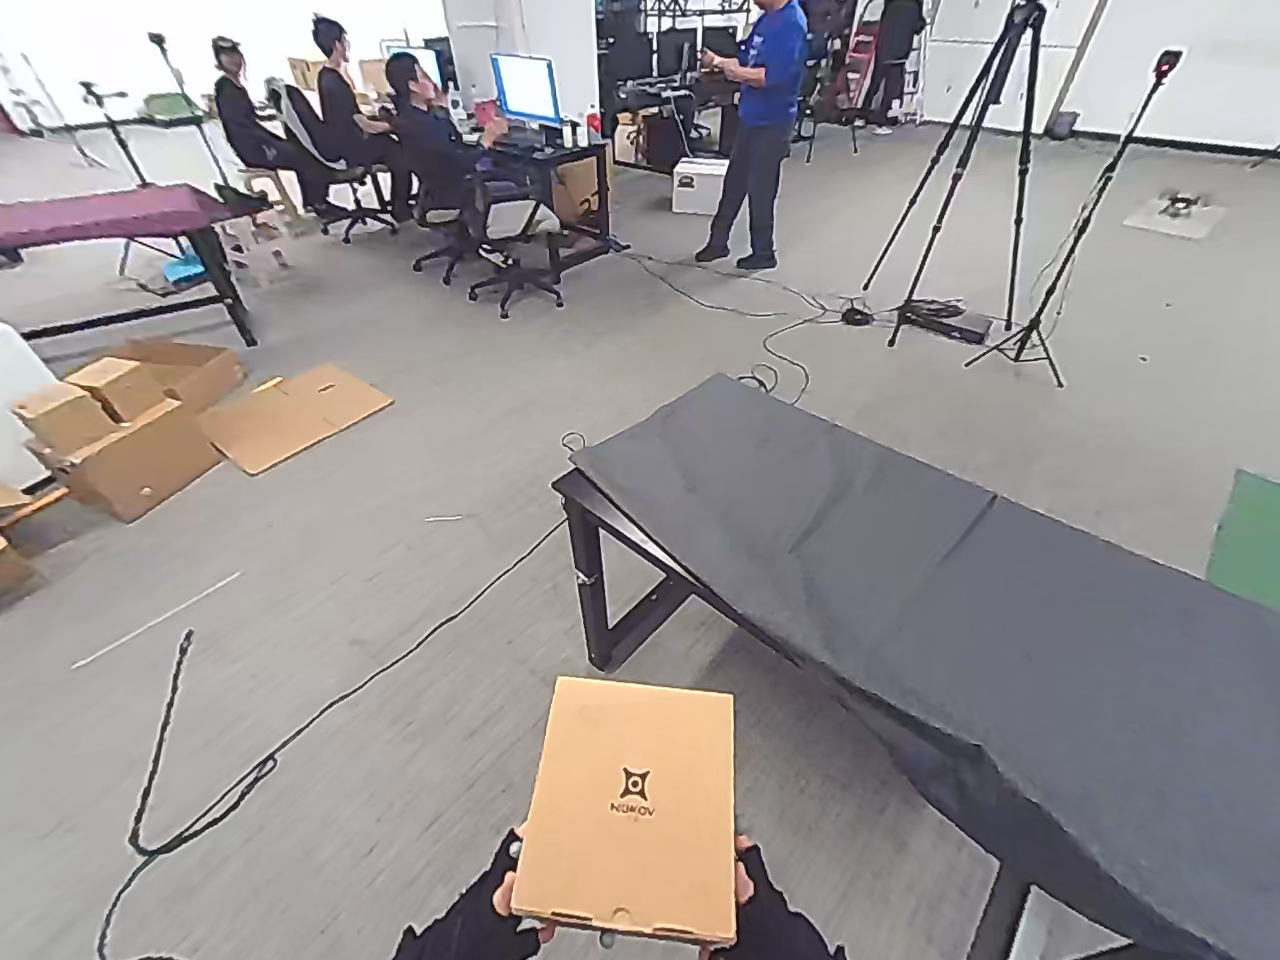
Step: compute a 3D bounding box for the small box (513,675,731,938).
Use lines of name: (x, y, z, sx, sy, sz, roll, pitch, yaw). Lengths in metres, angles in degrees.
small box: (-0.009, 0.311, 0.514, 0.168, 0.176, 0.179, 6, 50, 3)
